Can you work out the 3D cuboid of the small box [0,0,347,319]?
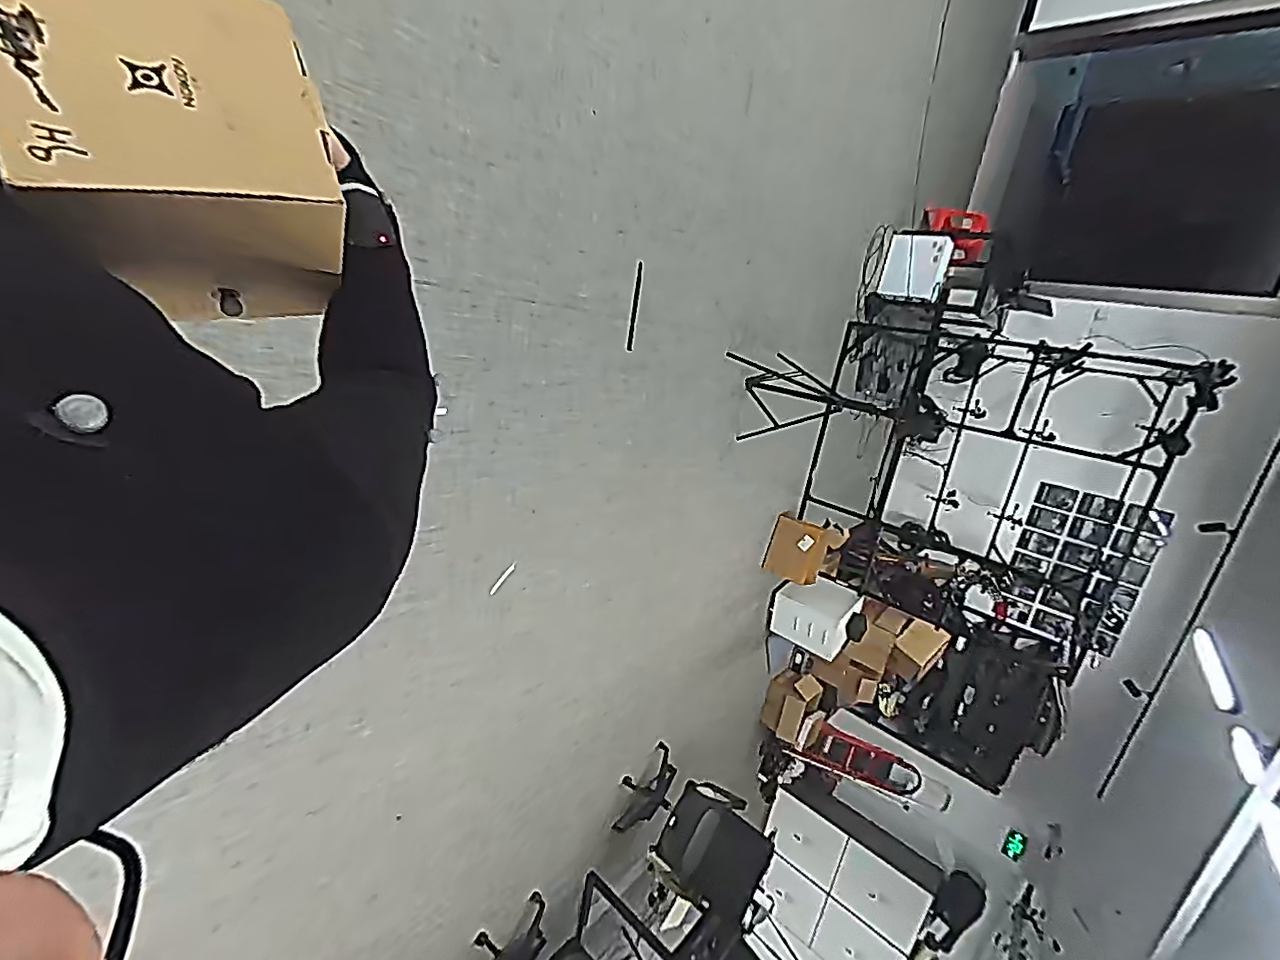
[{"bbox_3d":[-0.359,-0.246,0.439,0.179,0.176,0.168,-15,84,-33],"label":"small box"}]
